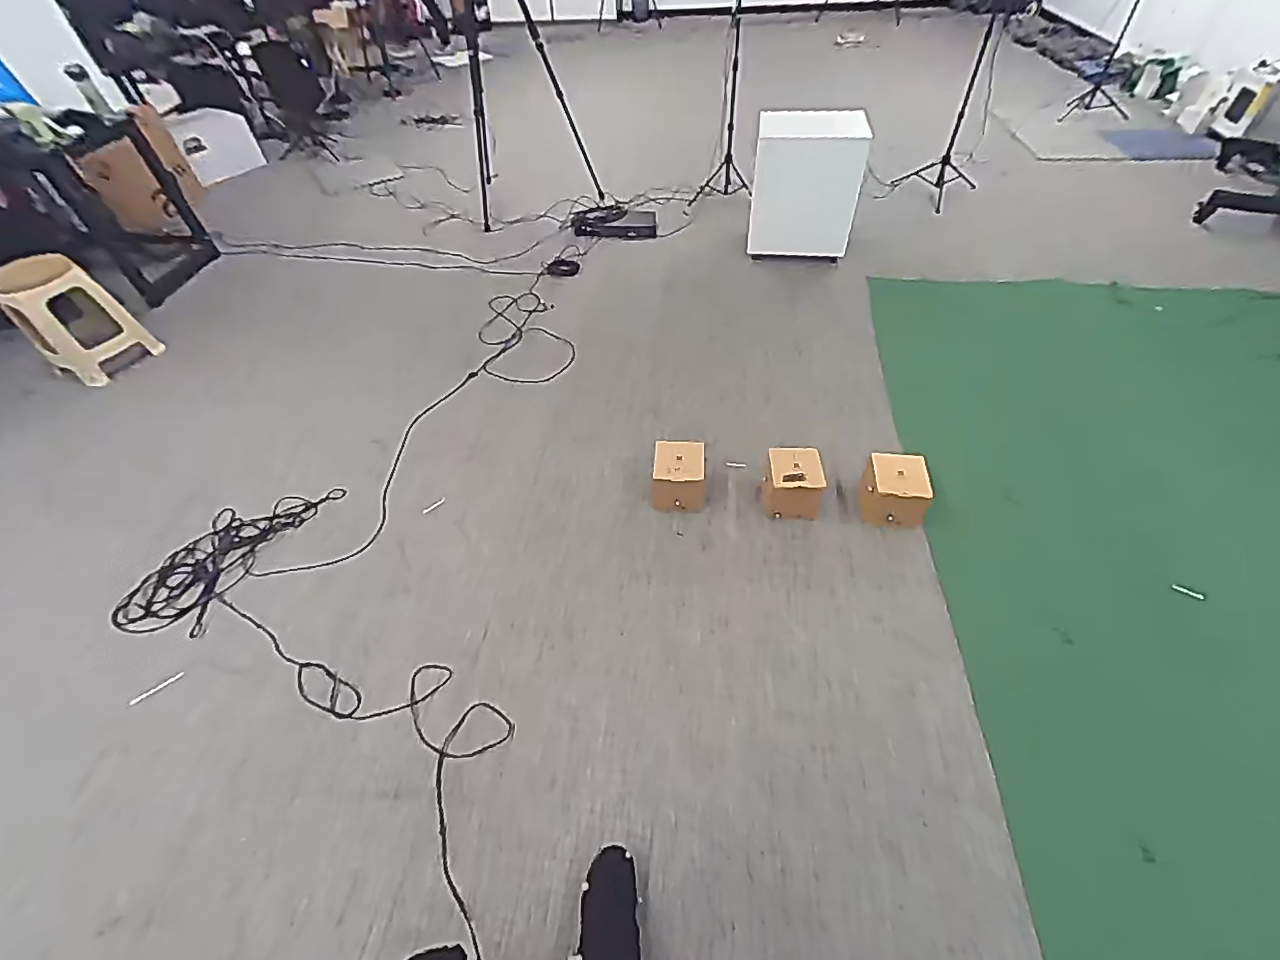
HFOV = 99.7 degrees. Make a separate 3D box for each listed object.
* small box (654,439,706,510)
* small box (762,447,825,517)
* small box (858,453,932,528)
[{"bbox_3d":[0.137,-0.018,1.849,0.168,0.176,0.179,2,50,6],"label":"small box"},{"bbox_3d":[0.509,0.010,1.811,0.168,0.176,0.179,1,49,3],"label":"small box"},{"bbox_3d":[0.830,0.035,1.777,0.168,0.176,0.179,5,50,7],"label":"small box"}]
